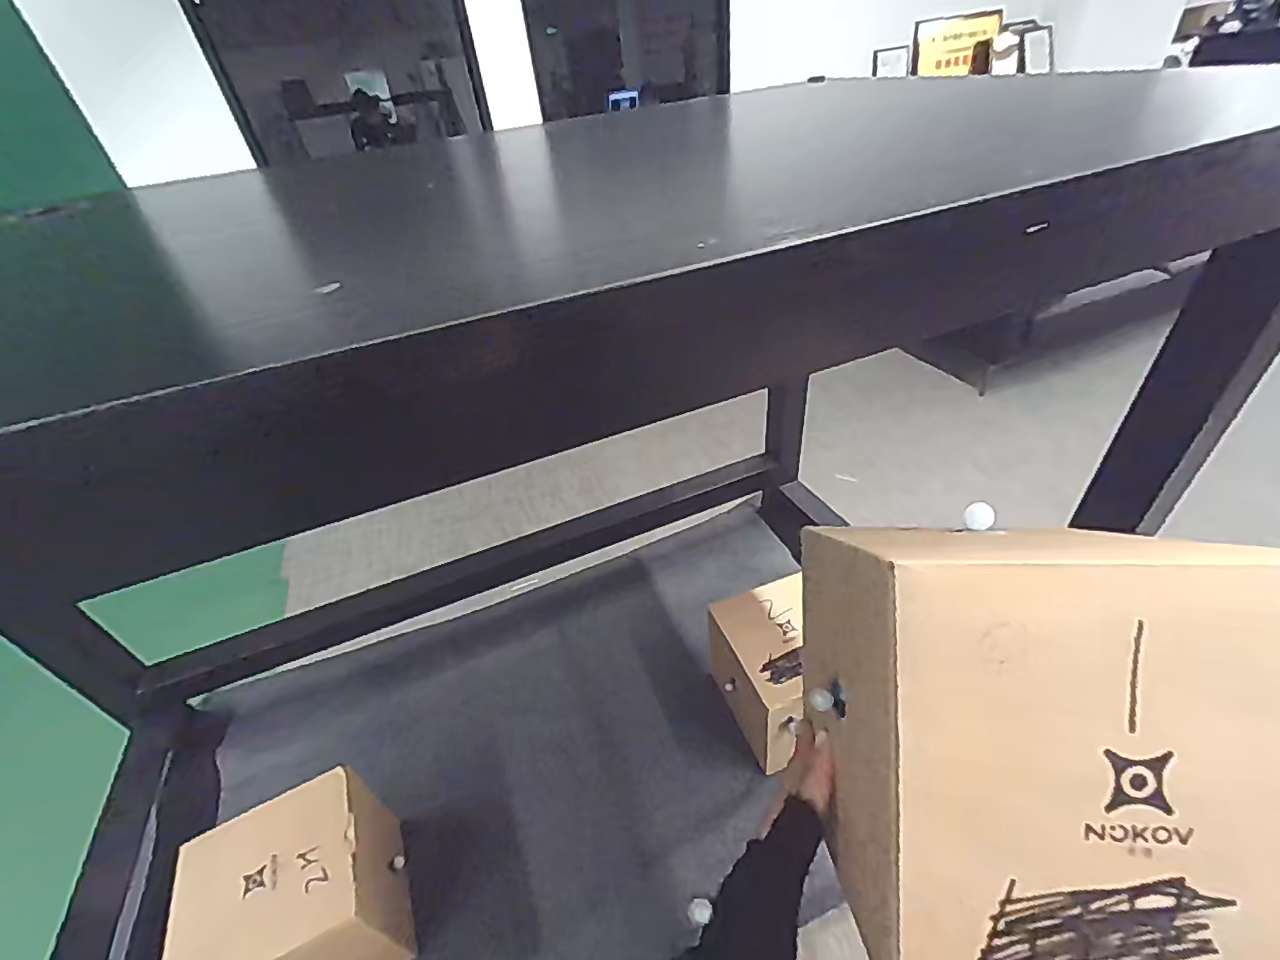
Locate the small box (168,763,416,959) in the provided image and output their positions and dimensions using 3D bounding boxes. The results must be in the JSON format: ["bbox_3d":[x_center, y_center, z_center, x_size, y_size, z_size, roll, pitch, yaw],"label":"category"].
[{"bbox_3d":[-0.380,0.473,0.613,0.179,0.176,0.168,-21,40,-18],"label":"small box"}]
